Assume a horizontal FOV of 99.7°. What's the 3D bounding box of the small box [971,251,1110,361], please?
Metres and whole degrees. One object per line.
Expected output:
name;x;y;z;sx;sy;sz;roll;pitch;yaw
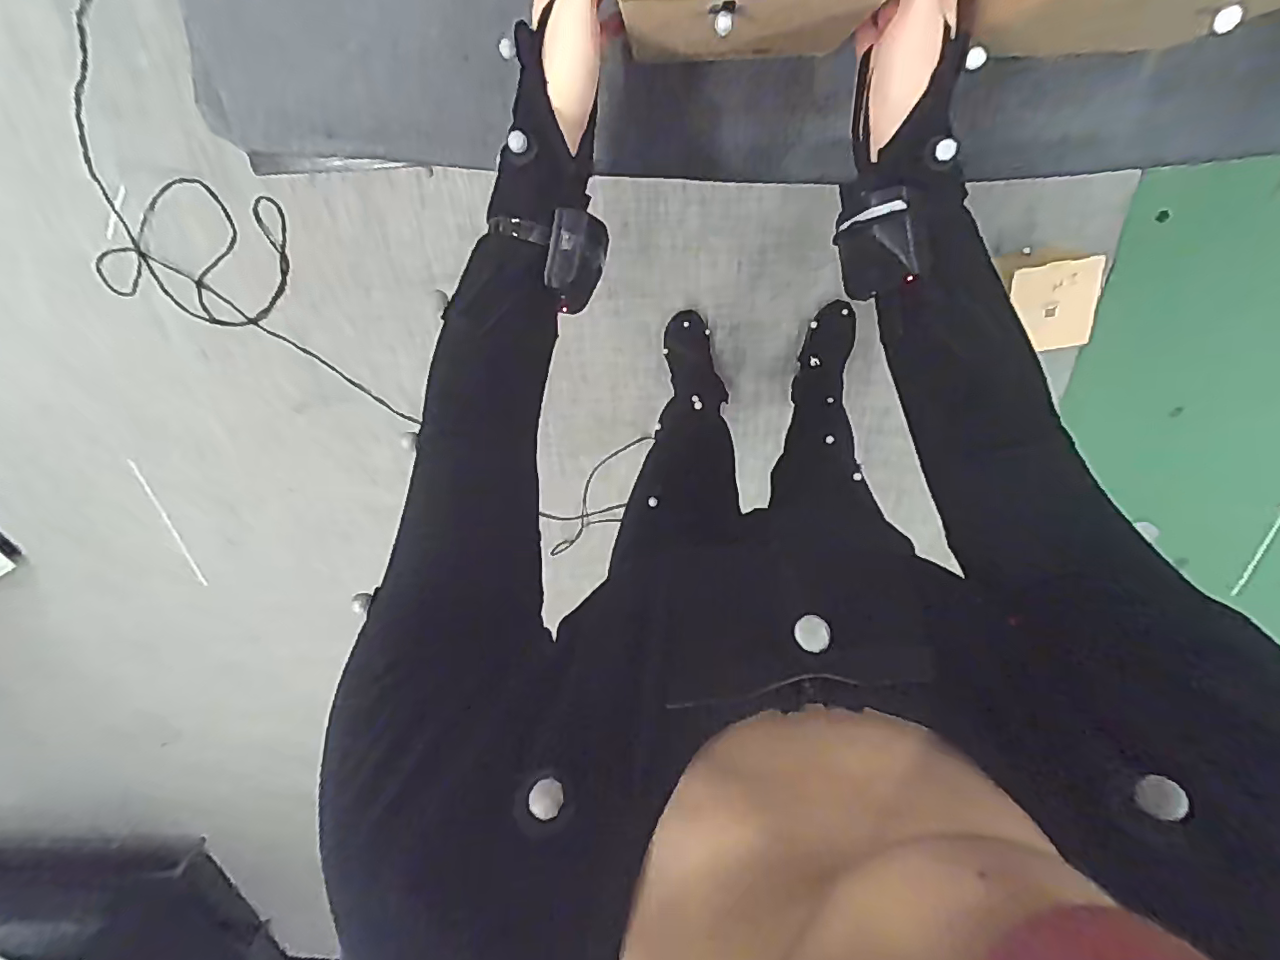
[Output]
small box;0.820;-0.367;1.131;0.168;0.176;0.179;-8;118;8
